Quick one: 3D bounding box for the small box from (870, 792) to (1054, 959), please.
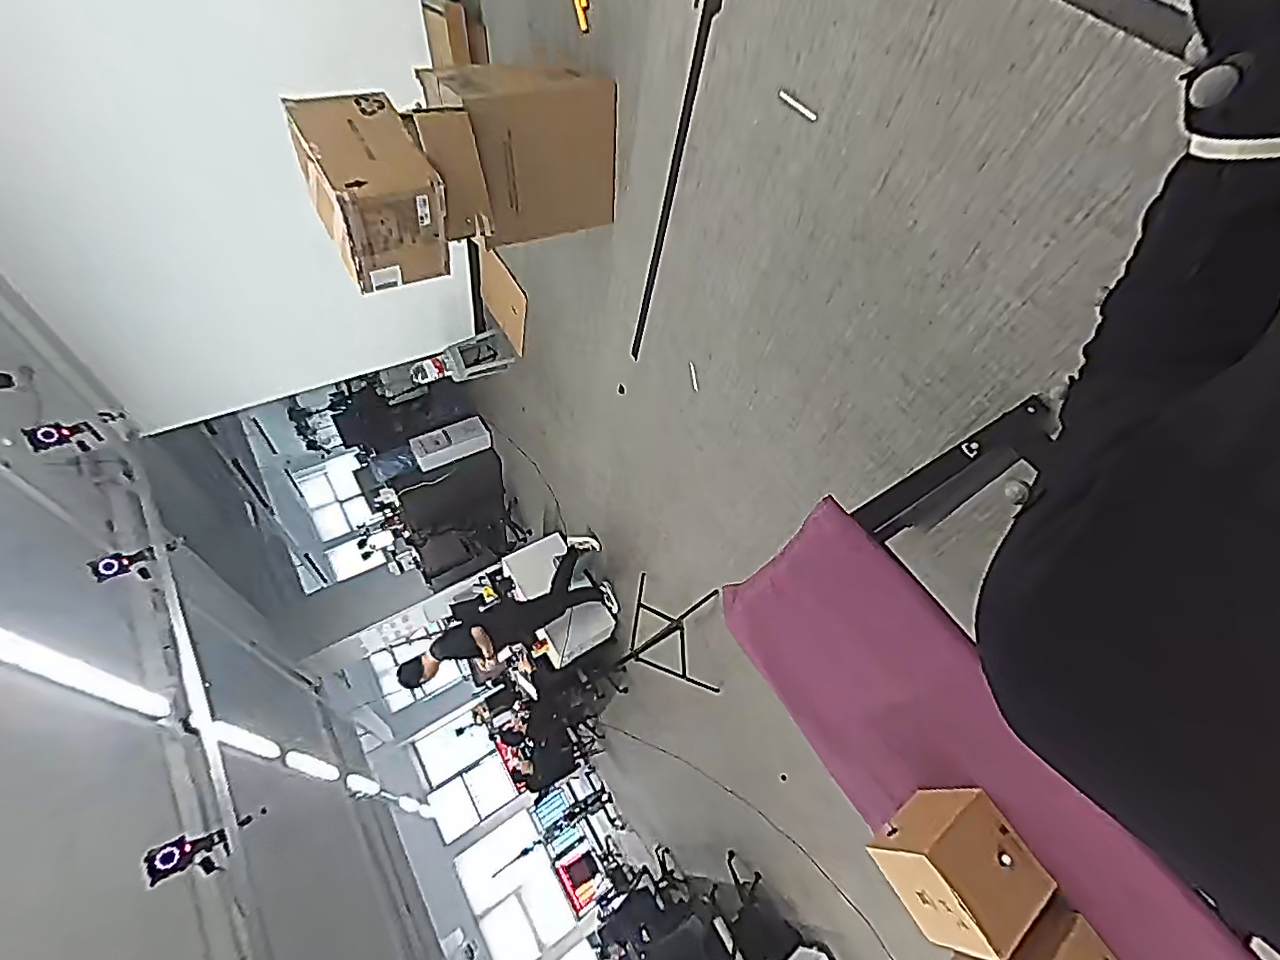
[{"bbox_3d":[0.543,0.661,0.921,0.168,0.176,0.179,55,153,20],"label":"small box"}]
